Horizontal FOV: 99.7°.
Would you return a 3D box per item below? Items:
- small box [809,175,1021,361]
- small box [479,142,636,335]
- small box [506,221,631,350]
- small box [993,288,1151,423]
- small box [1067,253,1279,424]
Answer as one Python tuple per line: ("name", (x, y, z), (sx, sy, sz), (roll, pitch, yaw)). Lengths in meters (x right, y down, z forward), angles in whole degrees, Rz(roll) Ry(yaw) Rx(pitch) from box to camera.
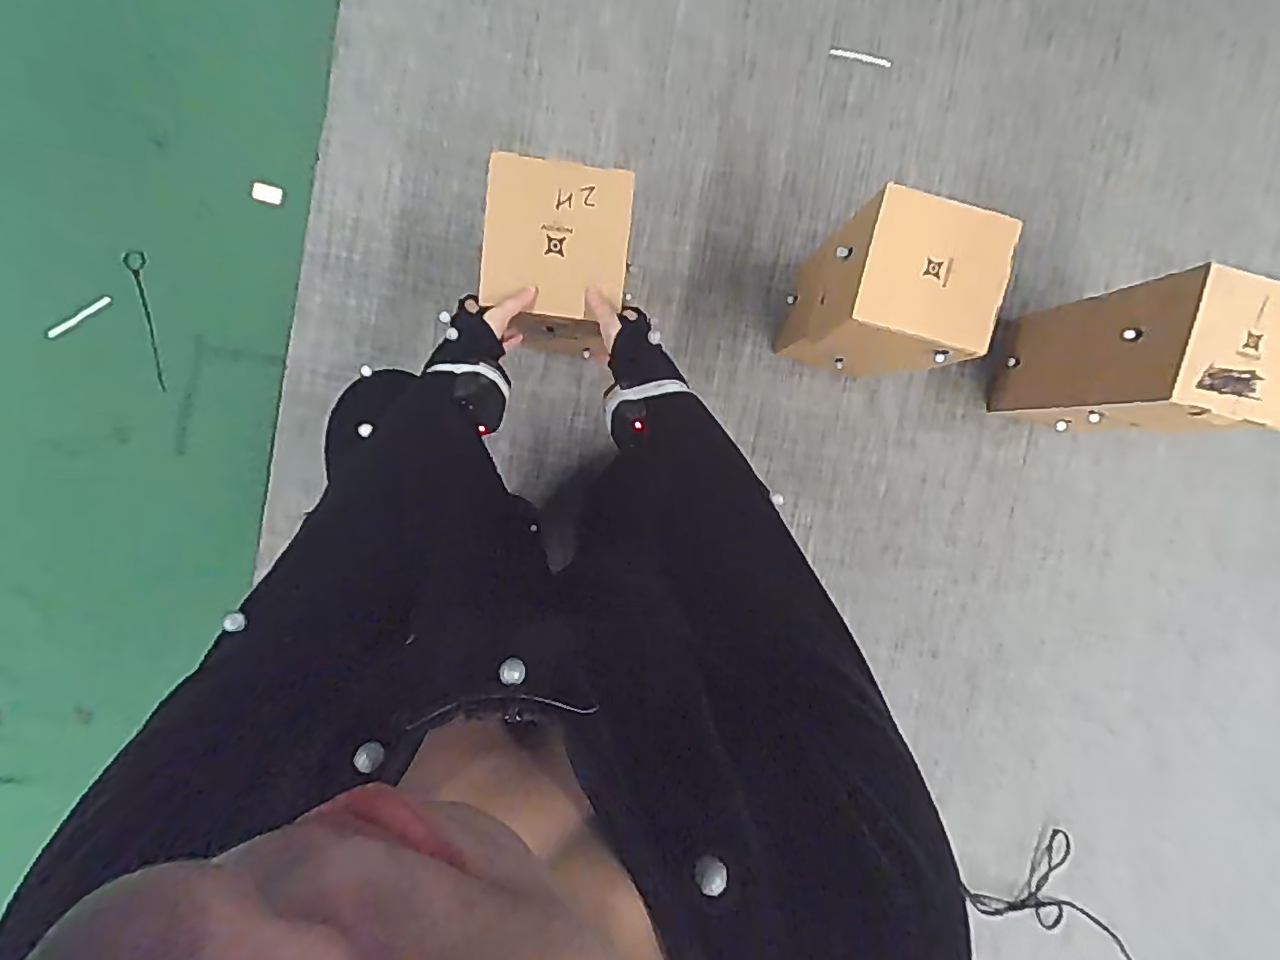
("small box", (0.348, -0.266, 0.722), (0.179, 0.176, 0.168), (14, 94, -3))
("small box", (-0.101, -0.293, 0.699), (0.168, 0.176, 0.179), (6, 95, -6))
("small box", (-0.107, -0.314, 0.863), (0.168, 0.176, 0.179), (8, 94, -4))
("small box", (0.739, -0.197, 0.909), (0.168, 0.176, 0.179), (12, 95, -4))
("small box", (0.743, -0.179, 0.745), (0.168, 0.176, 0.179), (14, 93, -4))
